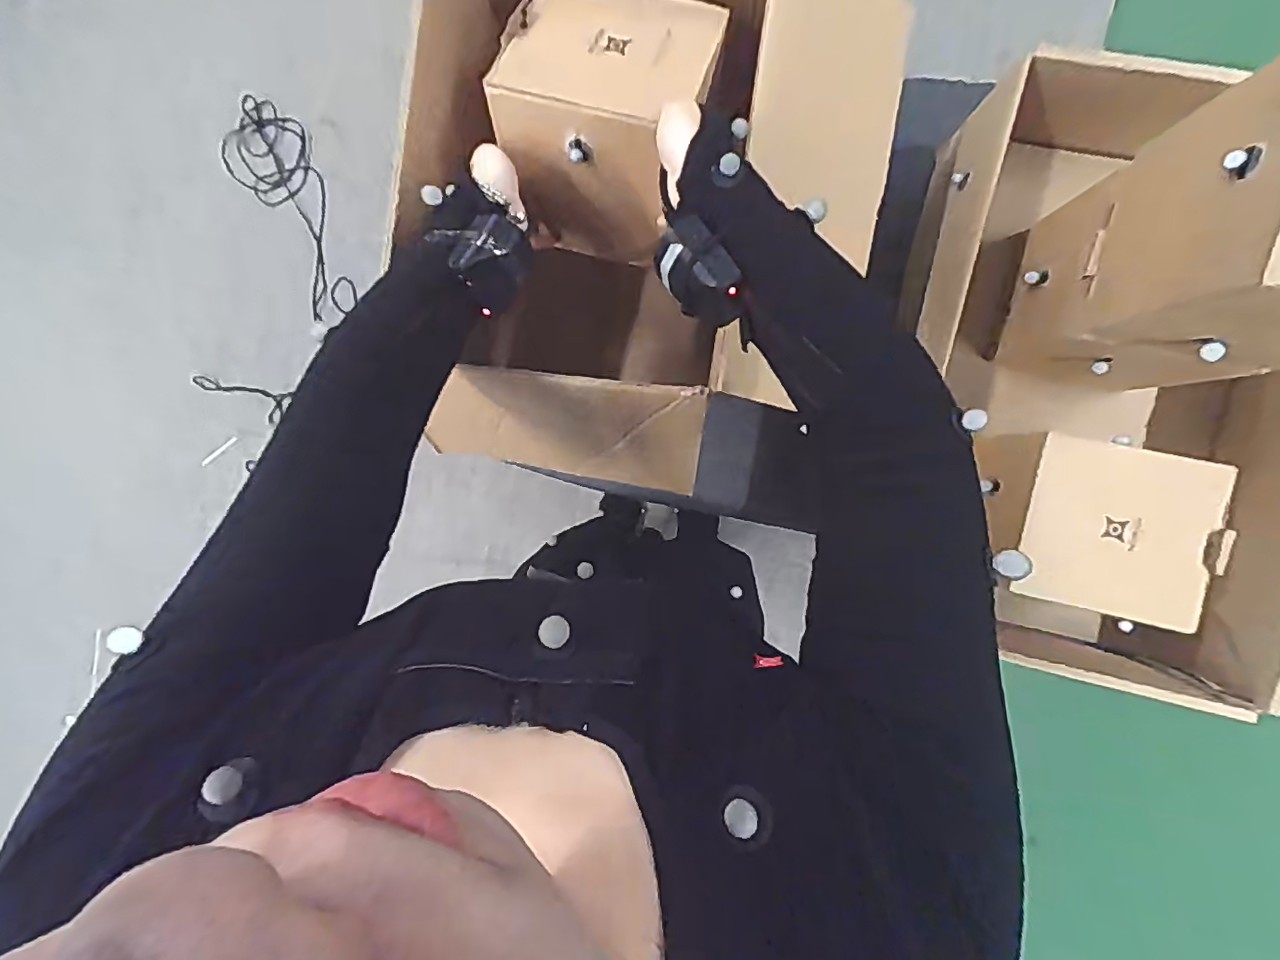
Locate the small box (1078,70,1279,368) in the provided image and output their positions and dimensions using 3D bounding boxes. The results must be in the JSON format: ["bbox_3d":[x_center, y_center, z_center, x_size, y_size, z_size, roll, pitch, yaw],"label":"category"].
[{"bbox_3d":[0.511,-0.201,0.438,0.168,0.176,0.179,14,96,4],"label":"small box"}]
